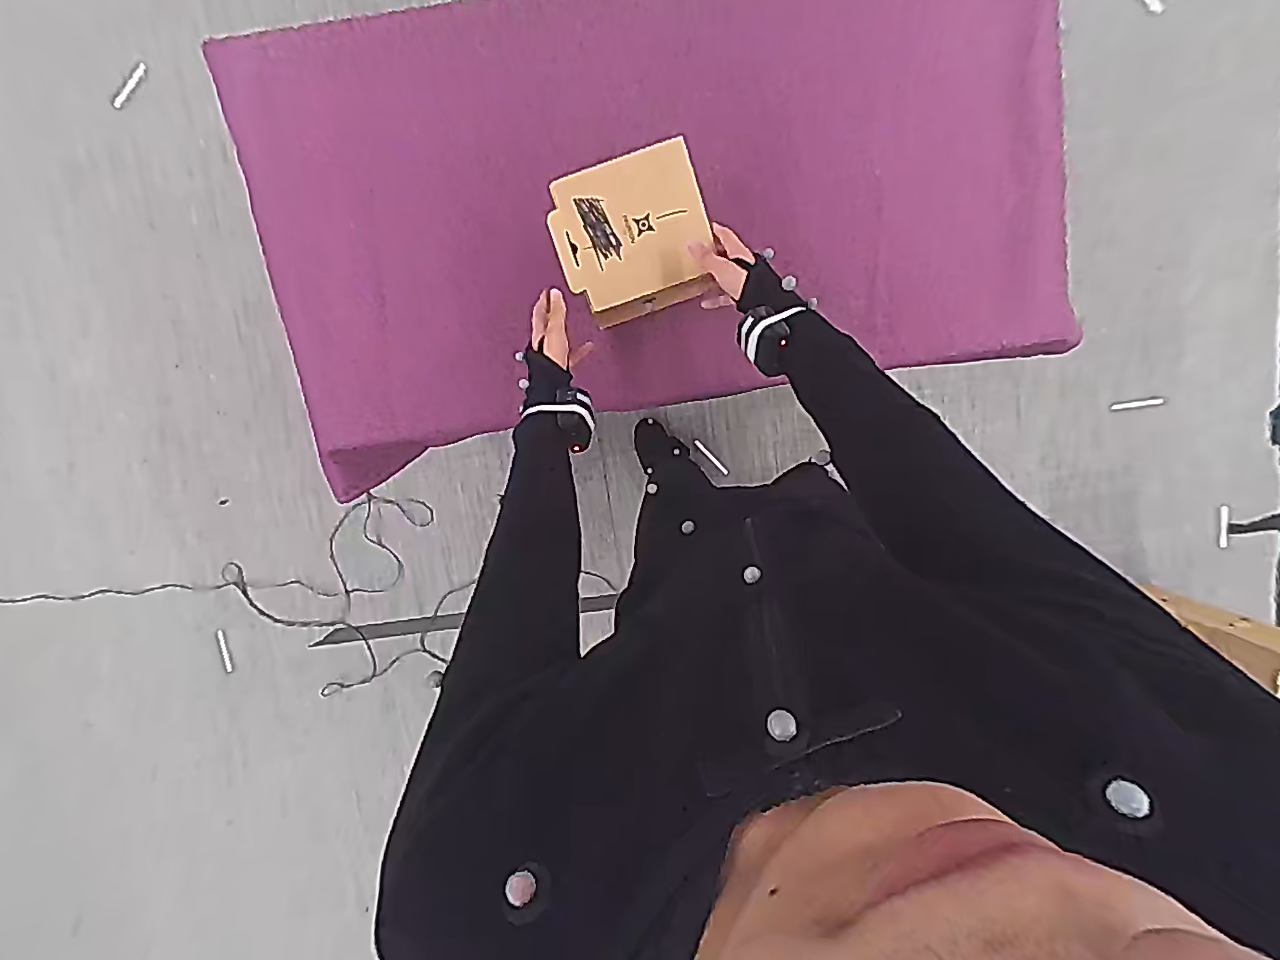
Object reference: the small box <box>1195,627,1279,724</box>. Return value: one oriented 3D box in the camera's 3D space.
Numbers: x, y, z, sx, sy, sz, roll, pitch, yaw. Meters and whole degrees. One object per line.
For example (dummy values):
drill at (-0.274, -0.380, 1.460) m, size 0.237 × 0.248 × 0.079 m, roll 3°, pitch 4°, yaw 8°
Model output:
small box at (1.523, 0.465, 1.305) m, size 0.179 × 0.176 × 0.168 m, roll 1°, pitch 100°, yaw -1°

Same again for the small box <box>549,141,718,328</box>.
small box at (-0.008, -0.323, 0.752) m, size 0.179 × 0.176 × 0.168 m, roll -19°, pitch 99°, yaw 1°

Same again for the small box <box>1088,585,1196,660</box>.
small box at (1.504, 0.426, 1.633) m, size 0.179 × 0.176 × 0.168 m, roll -4°, pitch 99°, yaw -1°
